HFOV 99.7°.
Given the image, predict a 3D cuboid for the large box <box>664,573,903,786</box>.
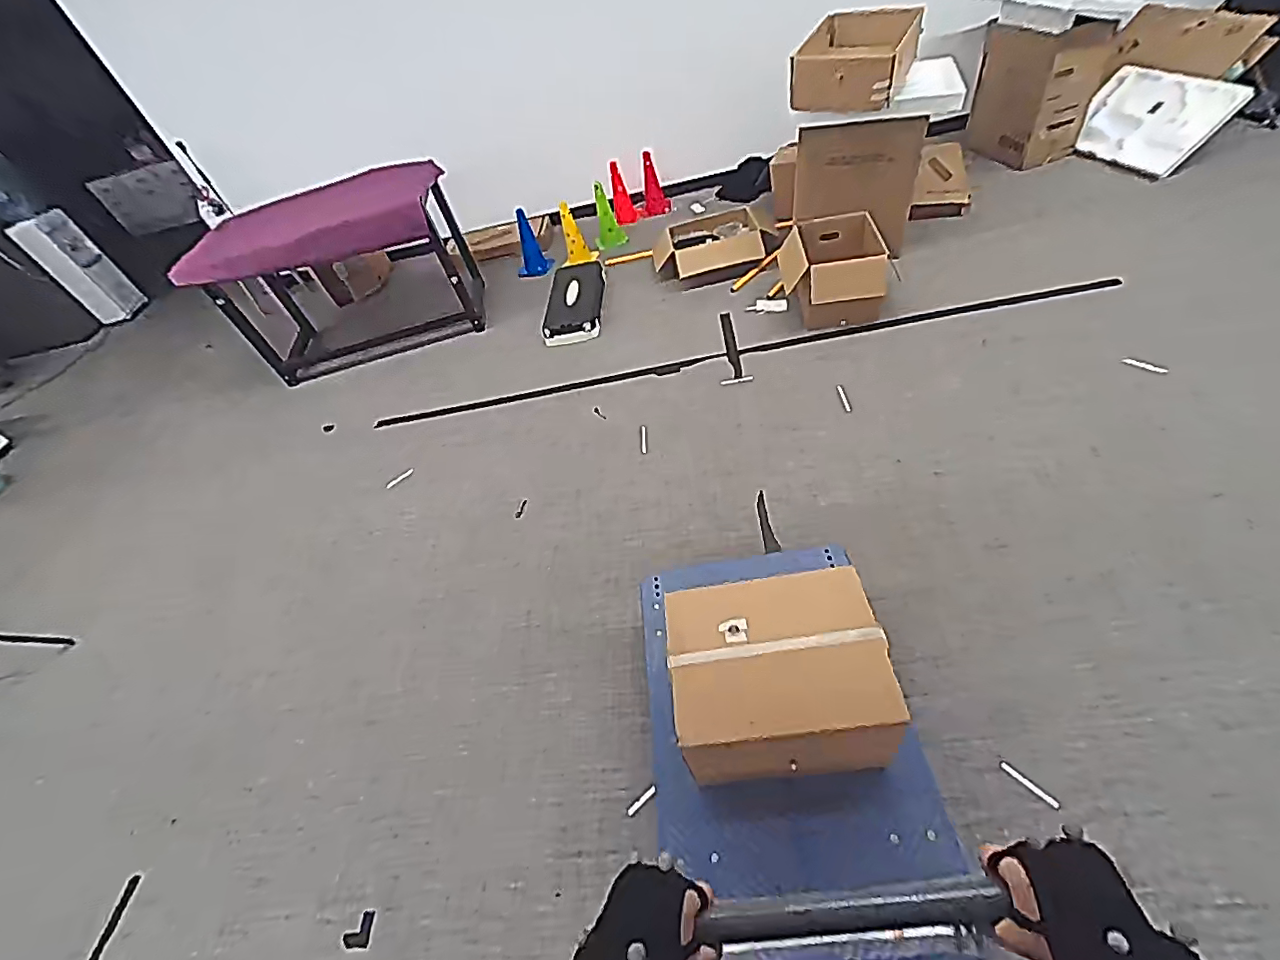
[{"bbox_3d":[0.288,0.439,1.165,0.408,0.320,0.320,-11,47,7],"label":"large box"}]
